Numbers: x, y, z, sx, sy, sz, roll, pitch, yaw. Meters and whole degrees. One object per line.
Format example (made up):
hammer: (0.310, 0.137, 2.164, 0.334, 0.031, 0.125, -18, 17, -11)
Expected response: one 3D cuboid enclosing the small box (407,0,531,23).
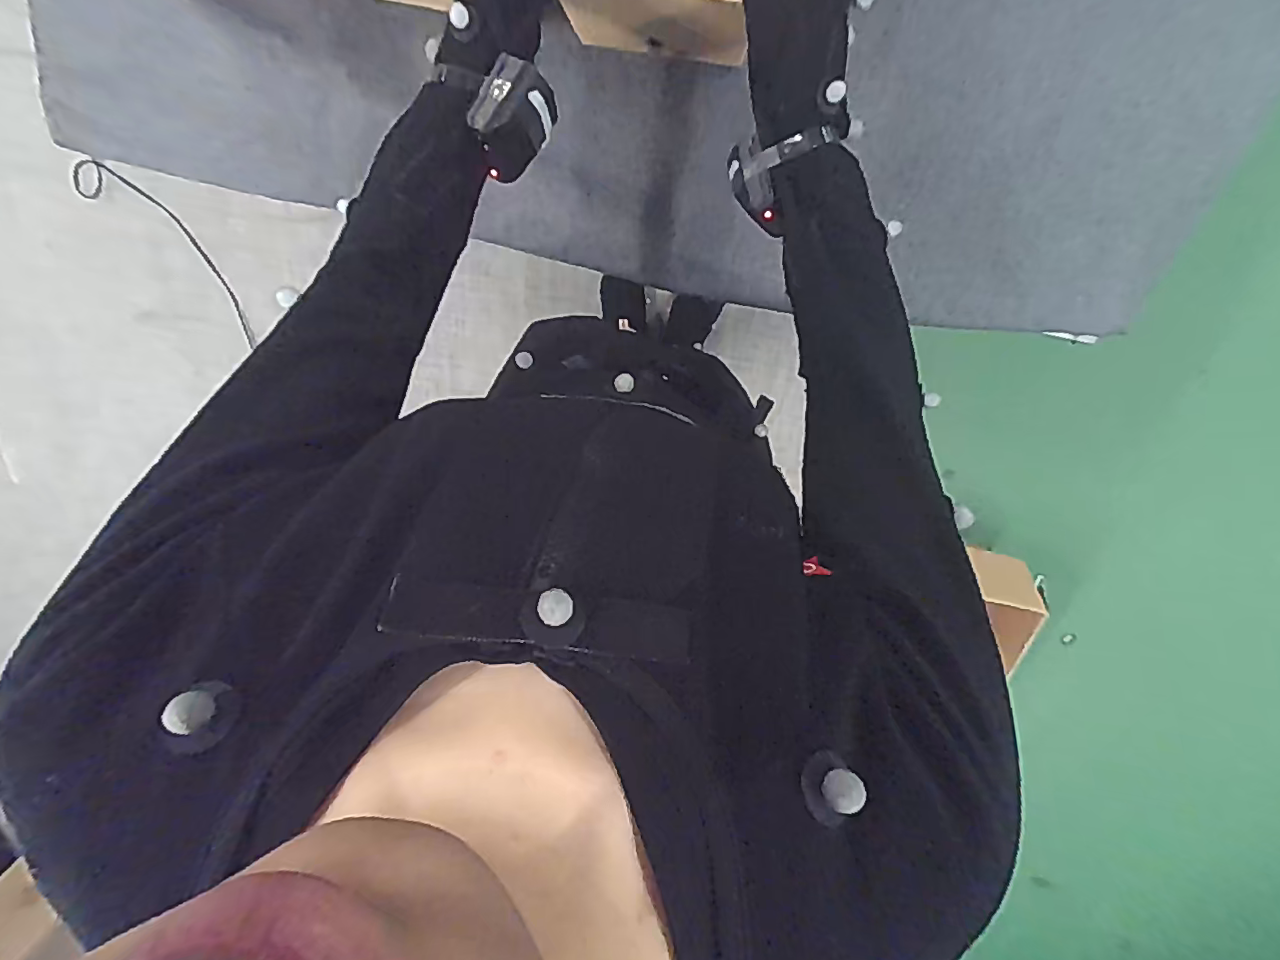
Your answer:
small box: (-0.180, -0.508, 0.431, 0.168, 0.176, 0.179, 10, 114, -1)
